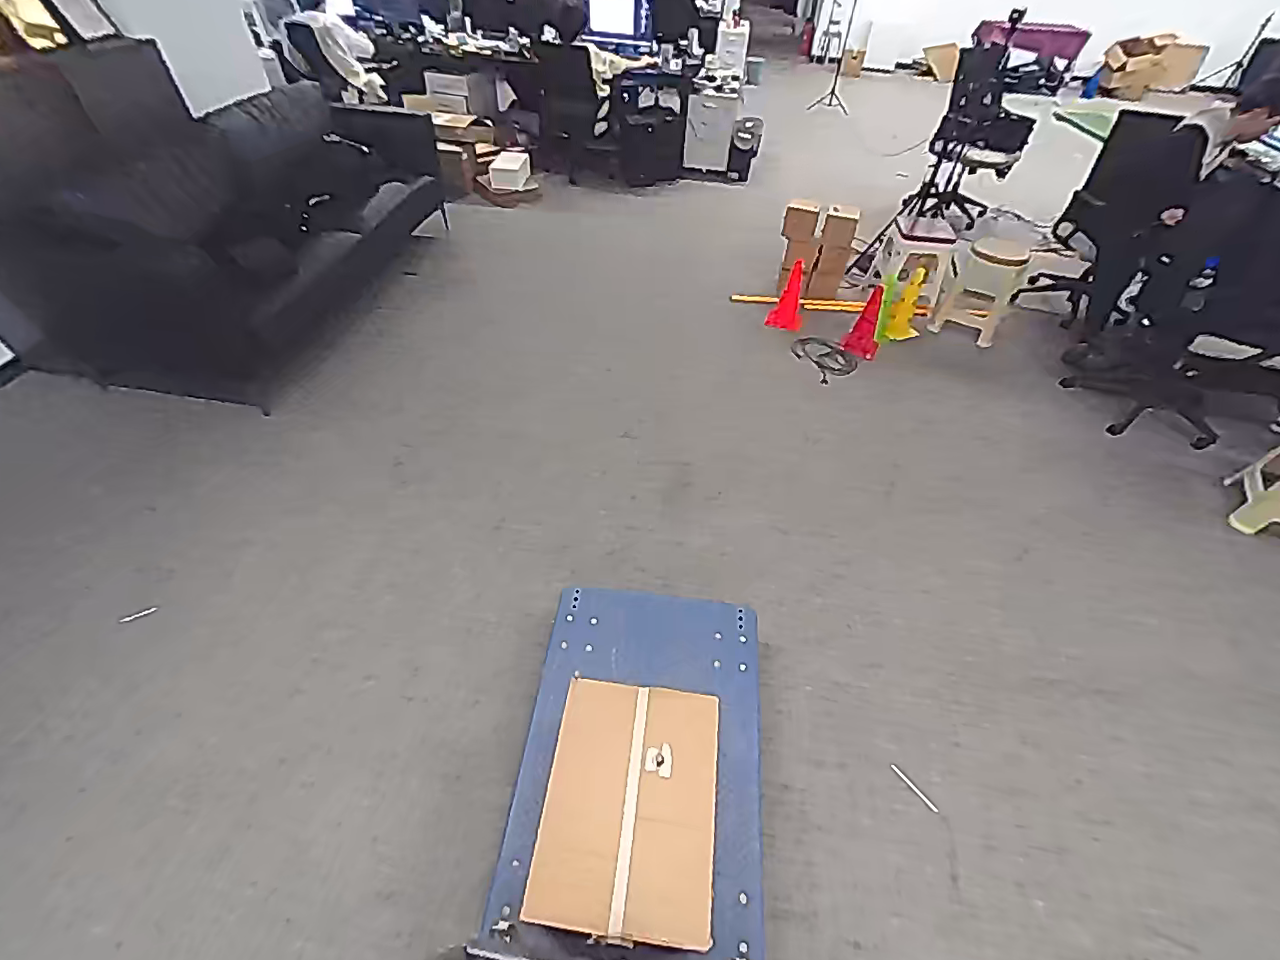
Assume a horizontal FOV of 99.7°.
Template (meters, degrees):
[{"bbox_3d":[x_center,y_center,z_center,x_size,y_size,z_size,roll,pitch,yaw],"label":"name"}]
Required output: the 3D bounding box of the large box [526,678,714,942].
[{"bbox_3d":[-0.021,0.682,1.123,0.320,0.320,0.408,6,49,3],"label":"large box"}]
